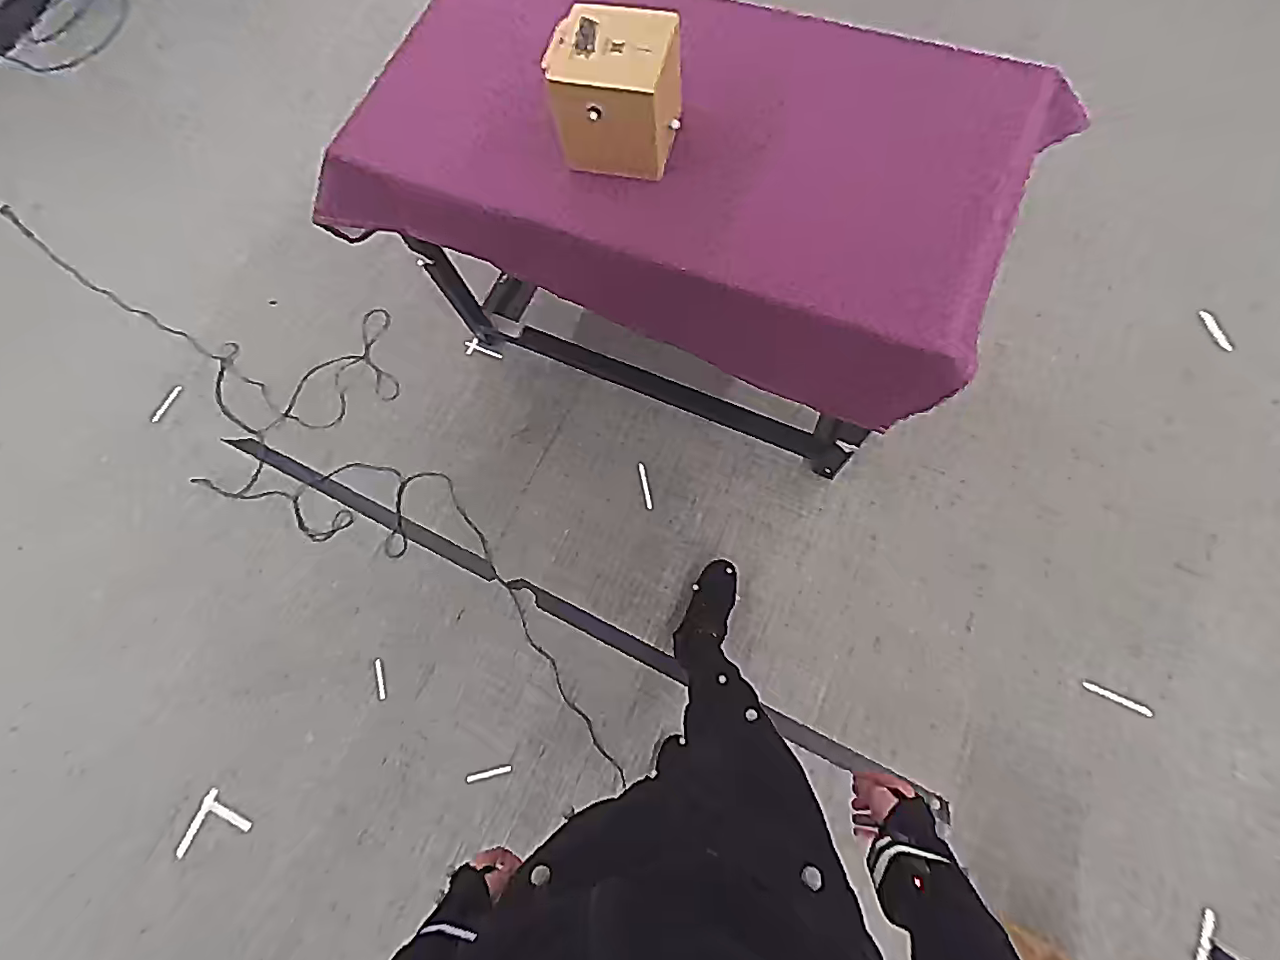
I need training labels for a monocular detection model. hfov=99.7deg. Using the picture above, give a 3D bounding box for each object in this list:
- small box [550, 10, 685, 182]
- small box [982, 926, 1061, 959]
[{"bbox_3d":[-0.027,-0.638,0.912,0.179,0.176,0.168,13,76,9],"label":"small box"},{"bbox_3d":[0.814,1.060,1.094,0.179,0.176,0.168,28,79,12],"label":"small box"}]
